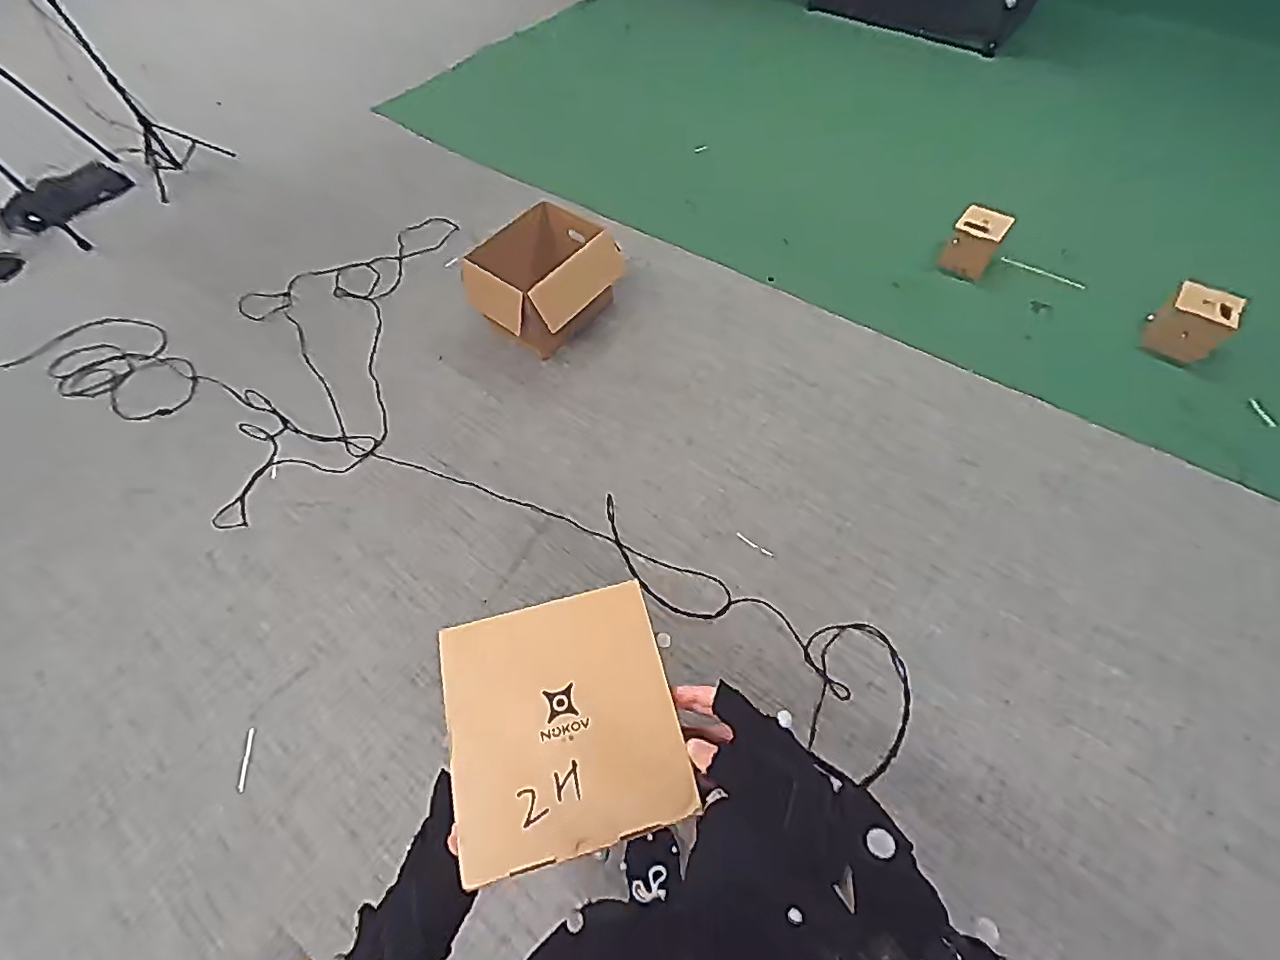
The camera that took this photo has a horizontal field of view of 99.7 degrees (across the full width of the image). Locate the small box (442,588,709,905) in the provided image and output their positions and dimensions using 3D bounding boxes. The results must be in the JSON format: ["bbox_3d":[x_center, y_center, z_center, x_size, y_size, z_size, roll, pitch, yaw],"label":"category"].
[{"bbox_3d":[-0.054,0.216,0.455,0.168,0.176,0.179,-13,61,-7],"label":"small box"}]

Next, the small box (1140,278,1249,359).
[{"bbox_3d":[1.850,-0.533,1.810,0.179,0.176,0.168,33,66,21],"label":"small box"}]
